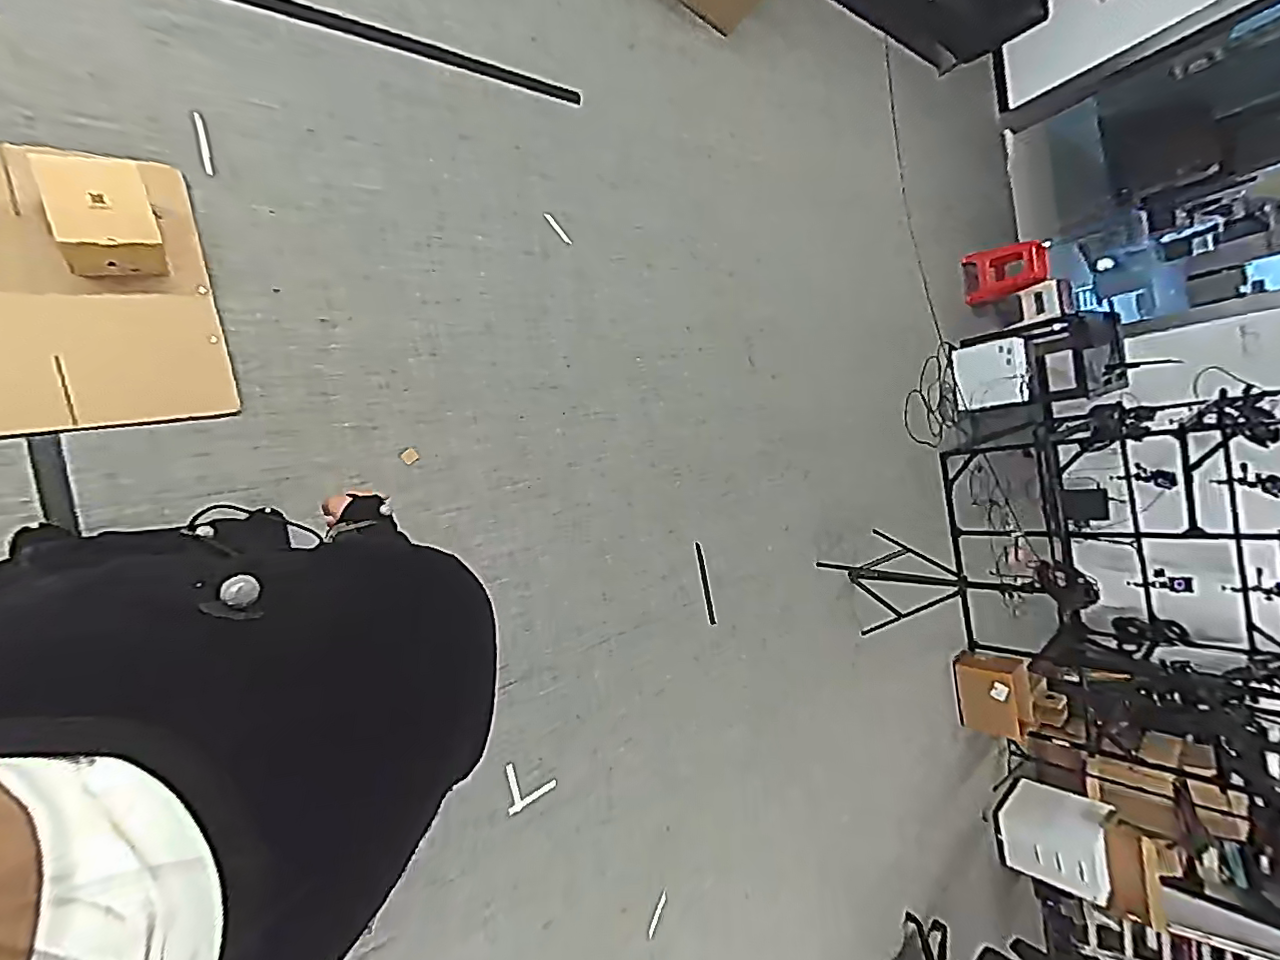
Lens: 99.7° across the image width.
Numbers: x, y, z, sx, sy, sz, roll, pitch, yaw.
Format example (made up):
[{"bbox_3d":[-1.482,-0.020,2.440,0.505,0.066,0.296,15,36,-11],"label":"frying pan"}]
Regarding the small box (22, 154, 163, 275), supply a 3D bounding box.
[{"bbox_3d":[-1.155,-0.556,1.155,0.168,0.176,0.179,-20,98,-38],"label":"small box"}]
